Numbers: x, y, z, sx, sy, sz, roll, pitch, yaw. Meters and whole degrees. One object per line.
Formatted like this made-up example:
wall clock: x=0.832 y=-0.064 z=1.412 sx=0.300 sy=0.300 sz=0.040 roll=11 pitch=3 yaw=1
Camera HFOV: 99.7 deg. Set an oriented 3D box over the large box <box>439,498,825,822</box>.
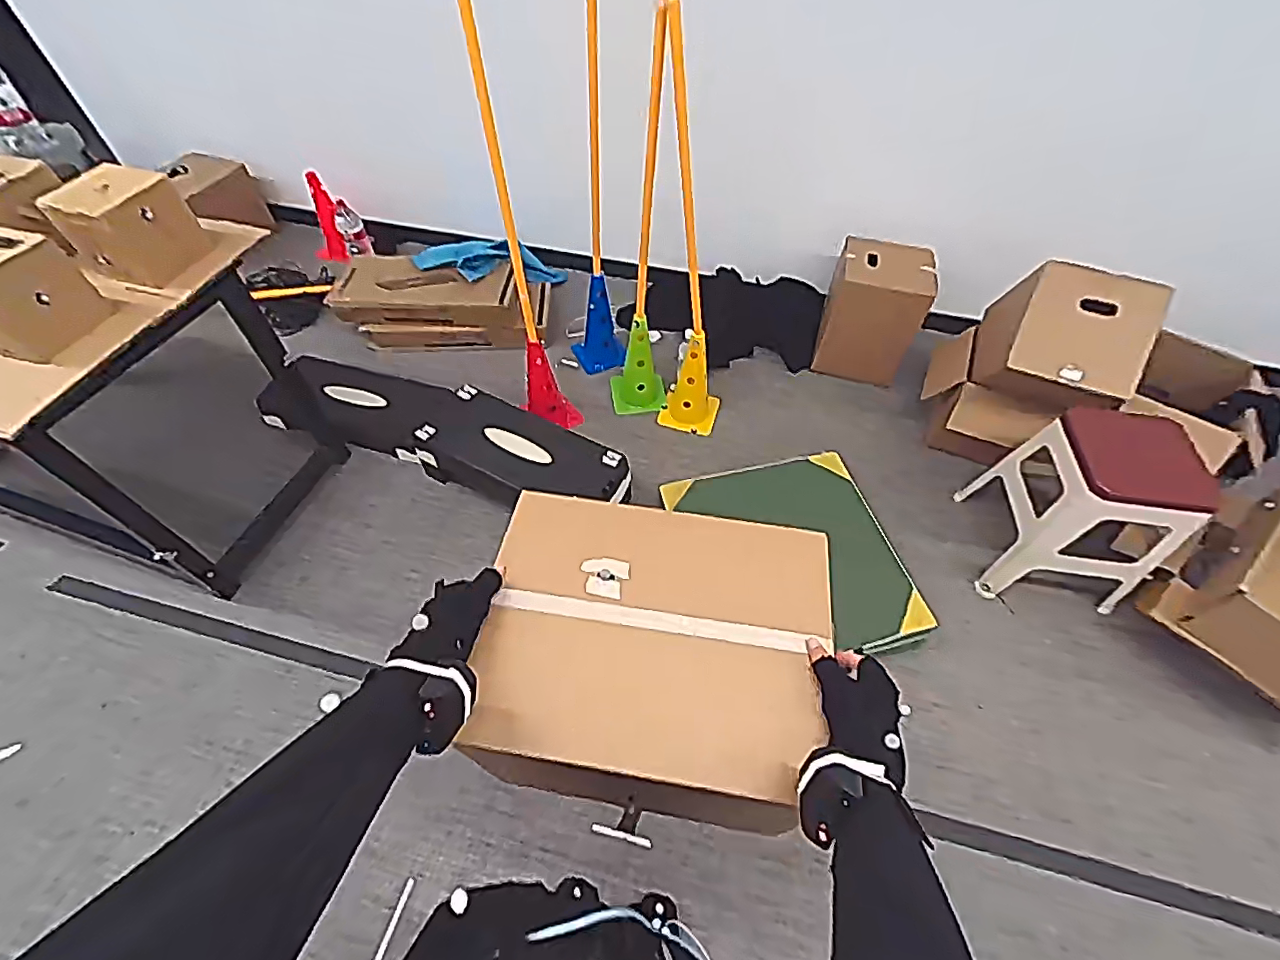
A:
large box: x=0.011 y=0.256 z=0.750 sx=0.408 sy=0.320 sz=0.320 roll=8 pitch=53 yaw=6
